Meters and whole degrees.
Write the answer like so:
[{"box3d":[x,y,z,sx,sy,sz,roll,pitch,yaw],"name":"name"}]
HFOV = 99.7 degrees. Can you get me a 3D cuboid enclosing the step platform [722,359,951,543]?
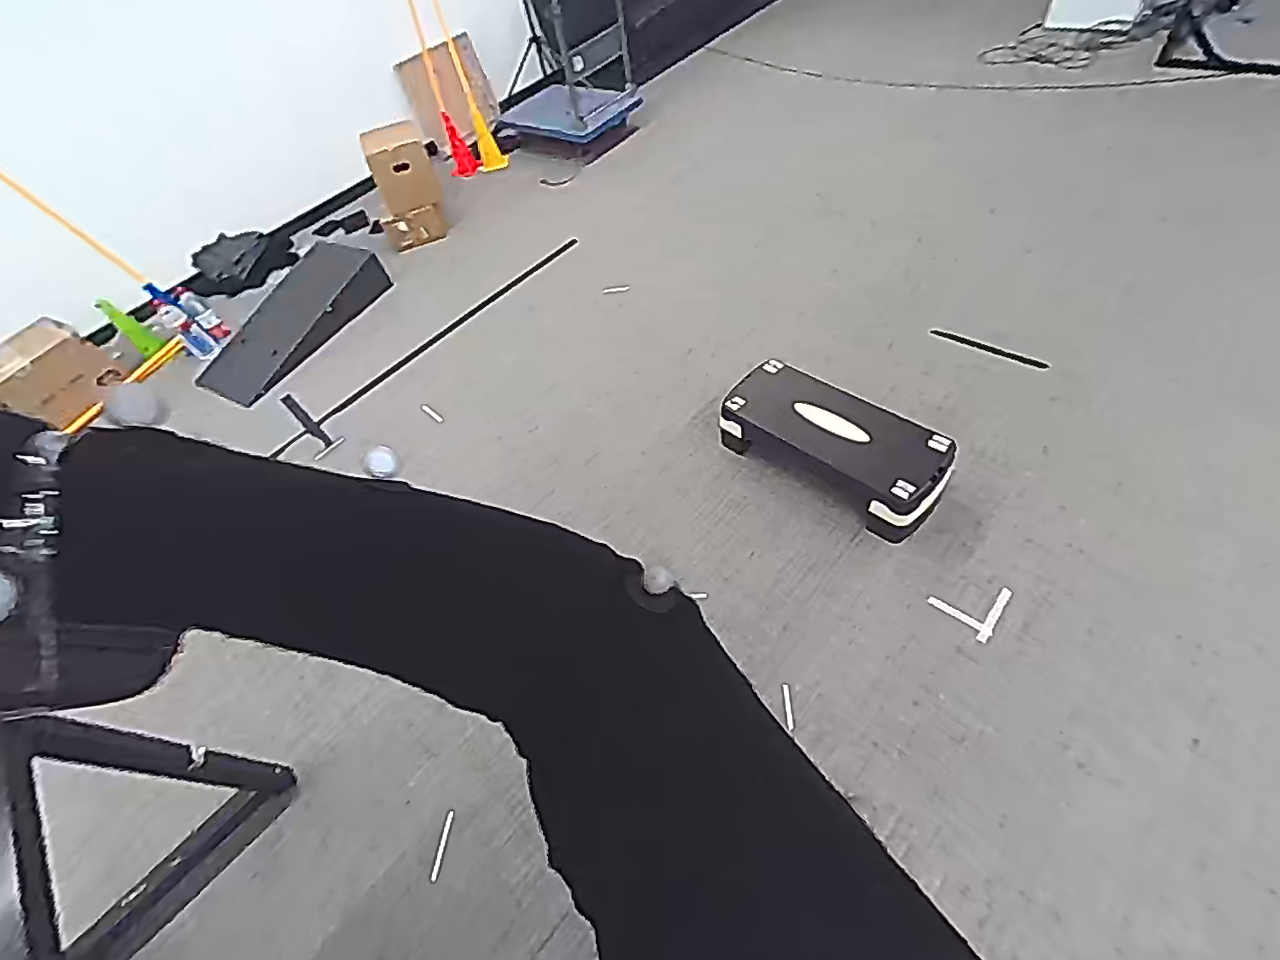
[{"box3d":[0.578,-0.121,1.684,0.286,0.204,0.684,-39,54,-16],"name":"step platform"}]
